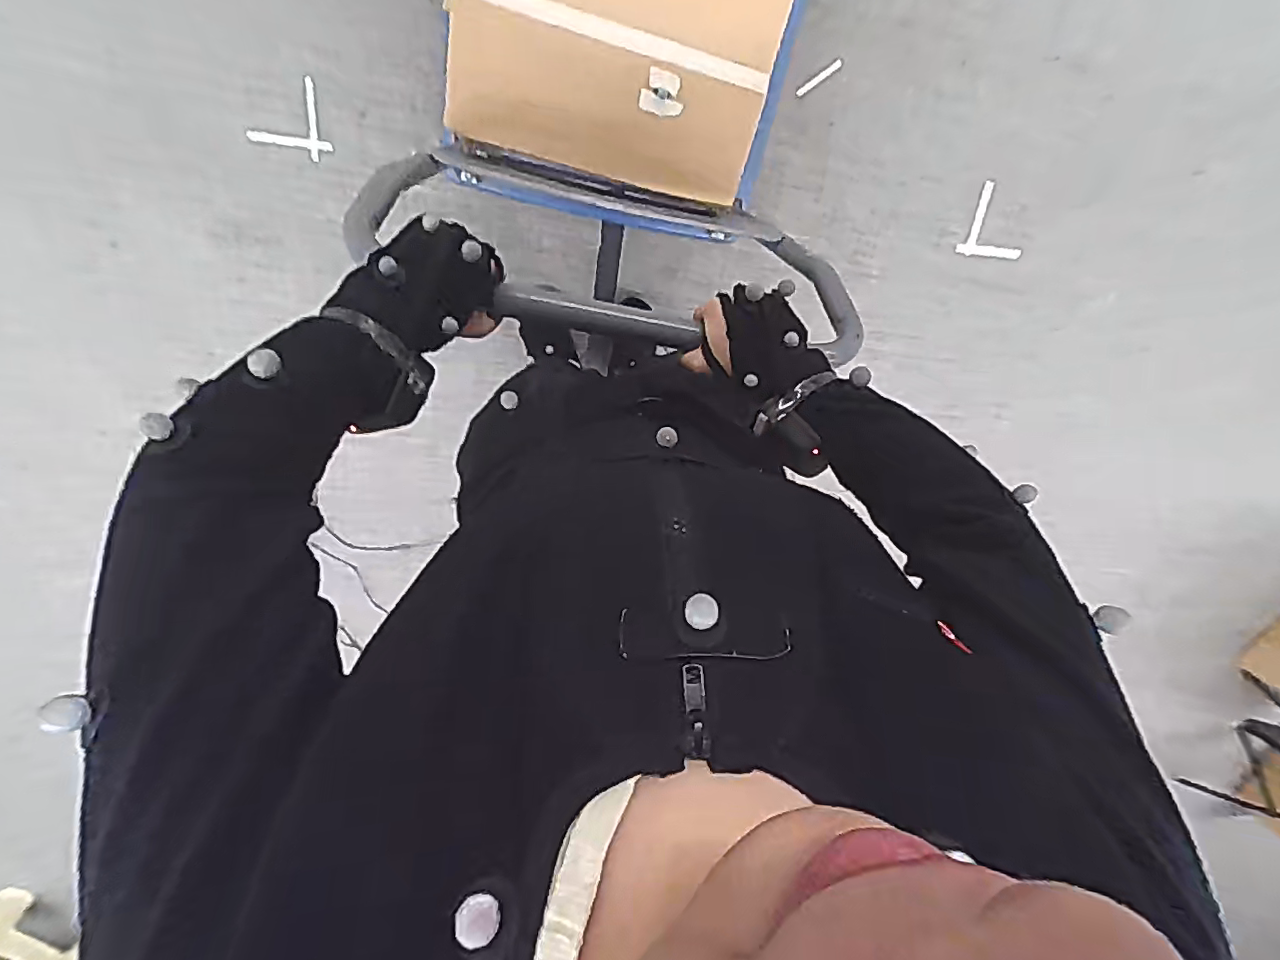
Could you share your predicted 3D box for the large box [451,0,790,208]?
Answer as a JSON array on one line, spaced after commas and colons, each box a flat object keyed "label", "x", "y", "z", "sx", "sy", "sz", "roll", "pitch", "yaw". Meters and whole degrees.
[{"label": "large box", "x": -0.043, "y": -0.628, "z": 0.802, "sx": 0.408, "sy": 0.320, "sz": 0.320, "roll": 8, "pitch": 120, "yaw": -14}]
